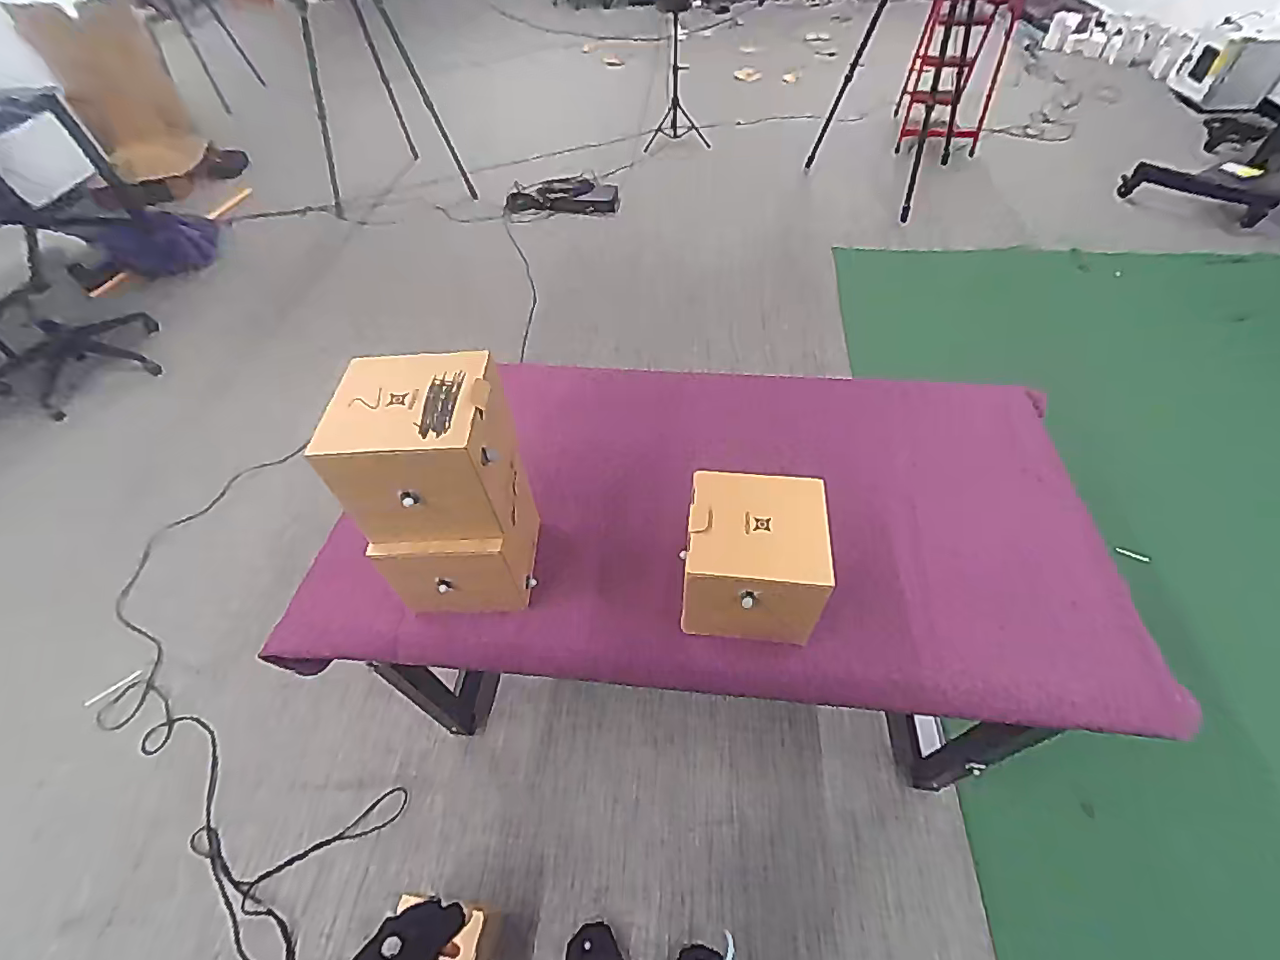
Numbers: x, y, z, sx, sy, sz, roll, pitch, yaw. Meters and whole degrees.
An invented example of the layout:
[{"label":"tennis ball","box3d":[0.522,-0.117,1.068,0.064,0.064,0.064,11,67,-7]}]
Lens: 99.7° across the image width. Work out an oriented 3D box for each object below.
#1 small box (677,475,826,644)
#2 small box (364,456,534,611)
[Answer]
[{"label":"small box","box3d":[0.148,0.115,0.756,0.179,0.176,0.168,5,51,7]},{"label":"small box","box3d":[-0.260,0.081,0.792,0.179,0.176,0.168,-1,50,1]}]
